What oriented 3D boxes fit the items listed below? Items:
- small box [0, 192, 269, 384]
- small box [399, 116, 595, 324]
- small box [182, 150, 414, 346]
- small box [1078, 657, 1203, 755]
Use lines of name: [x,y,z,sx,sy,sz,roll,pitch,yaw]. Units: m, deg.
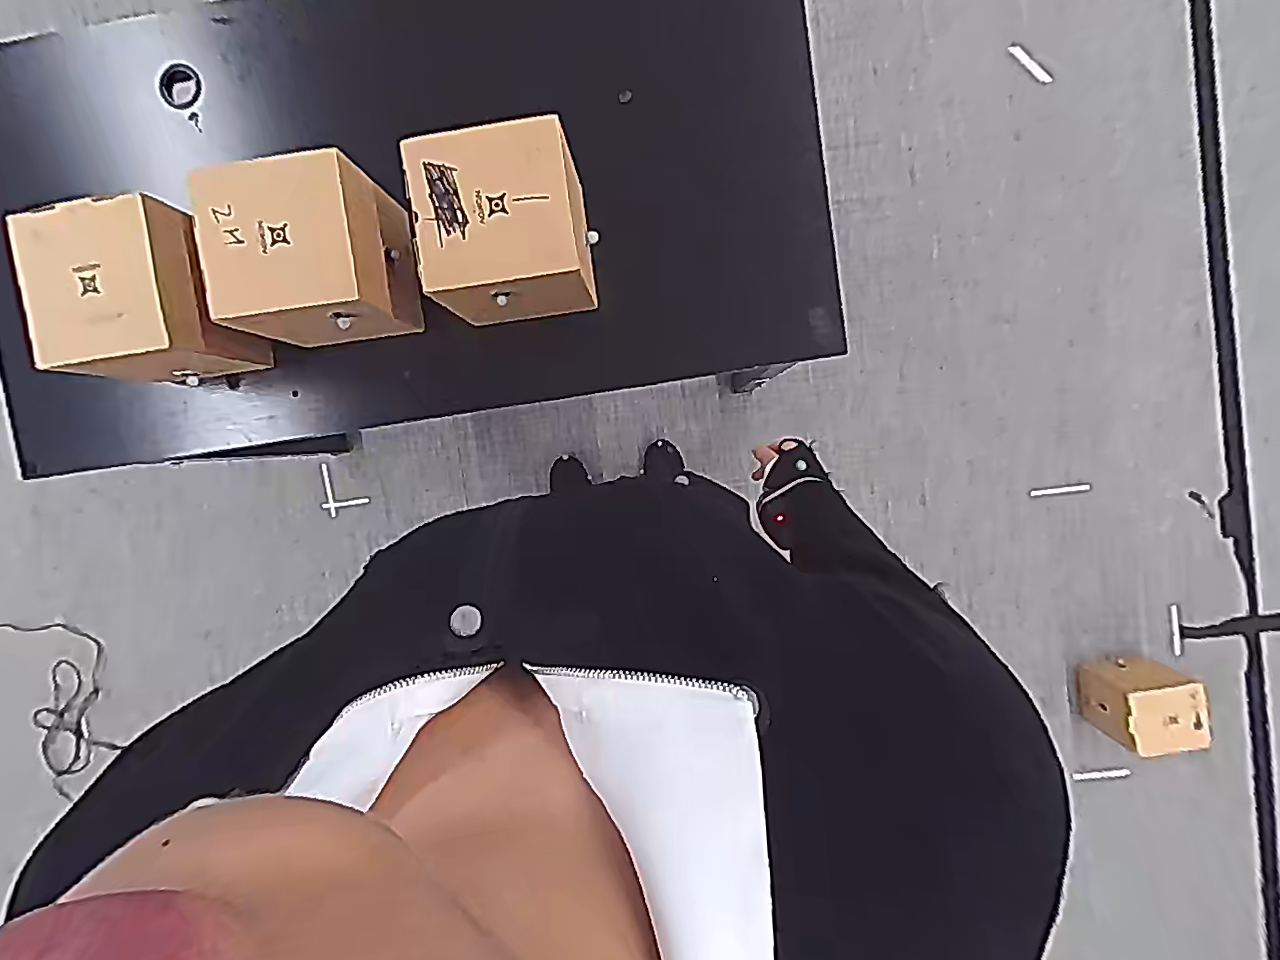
small box: [-0.614,-0.226,0.680,0.168,0.176,0.179,-8,94,4]
small box: [-0.159,-0.296,0.655,0.179,0.176,0.168,-7,94,2]
small box: [-0.399,-0.270,0.666,0.179,0.176,0.168,-7,93,3]
small box: [1.272,0.575,1.391,0.179,0.176,0.168,-10,94,4]
